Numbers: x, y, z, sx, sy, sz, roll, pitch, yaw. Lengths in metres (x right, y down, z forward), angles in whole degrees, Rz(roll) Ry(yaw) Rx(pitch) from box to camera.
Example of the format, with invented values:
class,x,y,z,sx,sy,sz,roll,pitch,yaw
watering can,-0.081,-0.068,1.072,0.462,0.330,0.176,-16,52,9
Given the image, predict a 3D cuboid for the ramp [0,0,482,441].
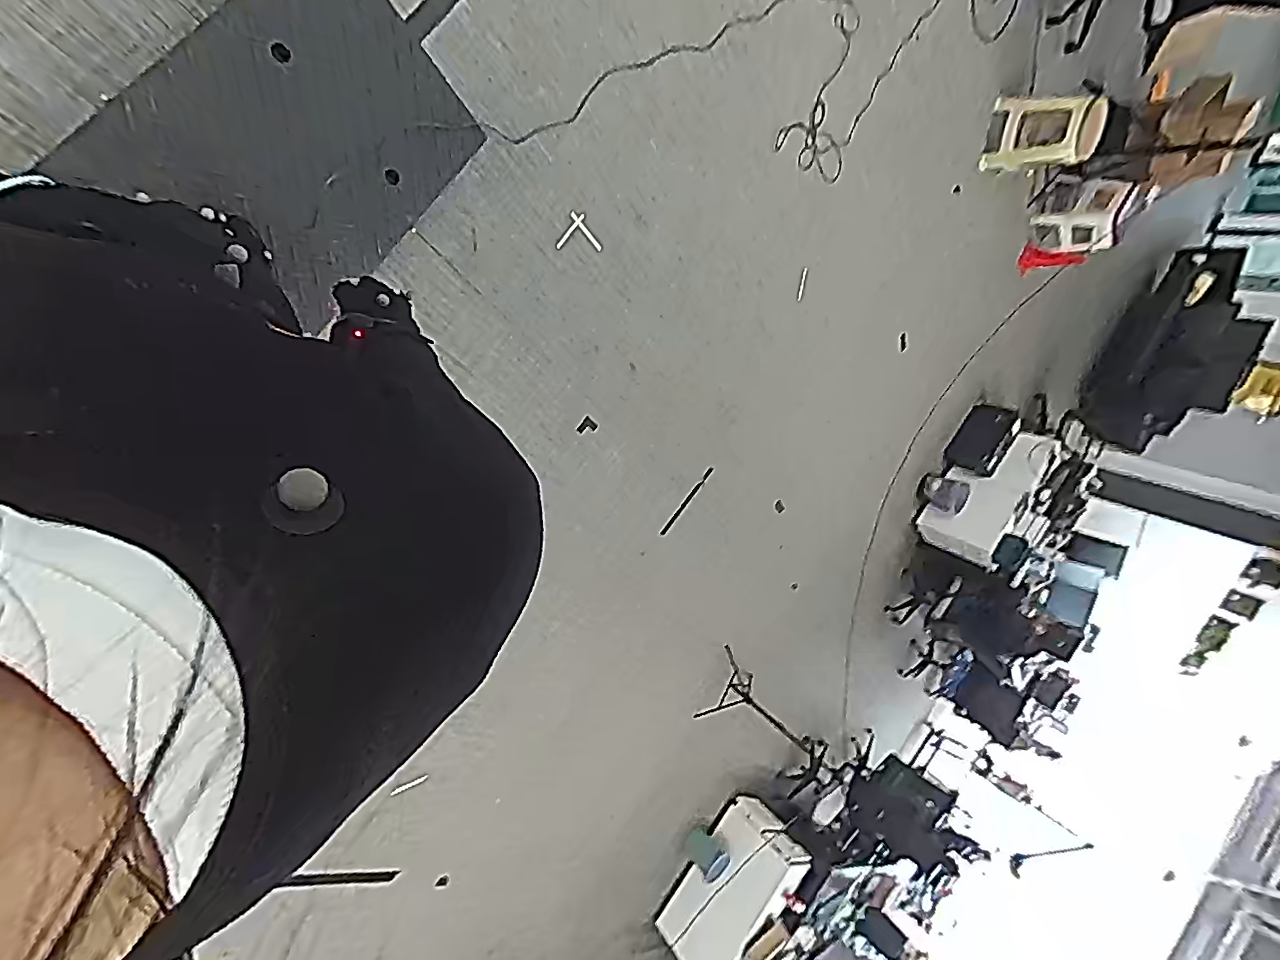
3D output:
class,x,y,z,sx,sy,sz,roll,pitch,yaw
ramp,-0.791,-0.626,1.188,0.991,0.206,0.509,-55,133,-7
